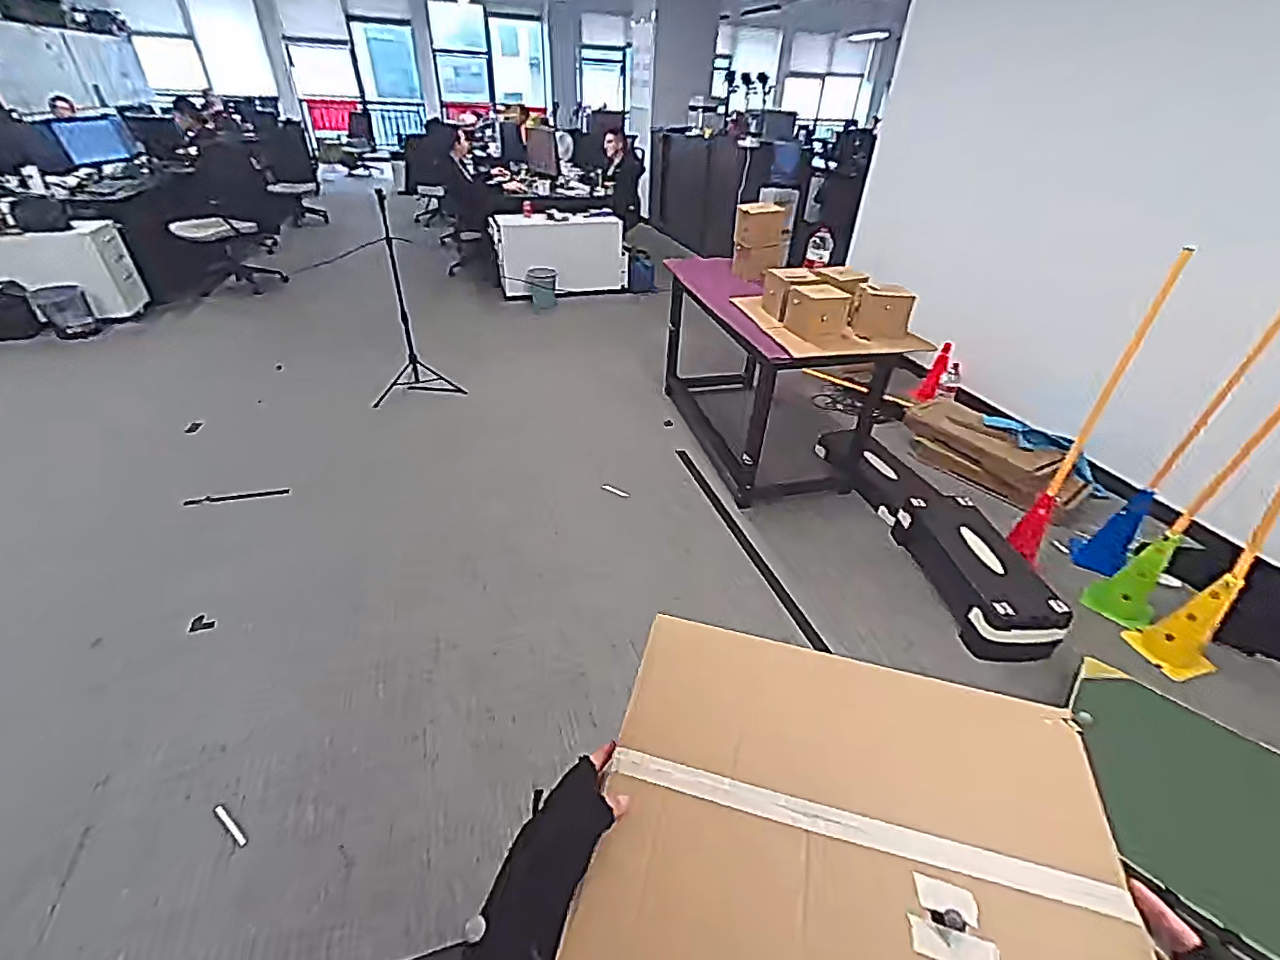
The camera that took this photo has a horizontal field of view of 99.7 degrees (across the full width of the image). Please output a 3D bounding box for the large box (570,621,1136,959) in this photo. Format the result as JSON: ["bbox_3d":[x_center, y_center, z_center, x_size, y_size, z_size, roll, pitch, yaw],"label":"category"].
[{"bbox_3d":[0.173,0.396,0.553,0.408,0.320,0.320,11,44,11],"label":"large box"}]
